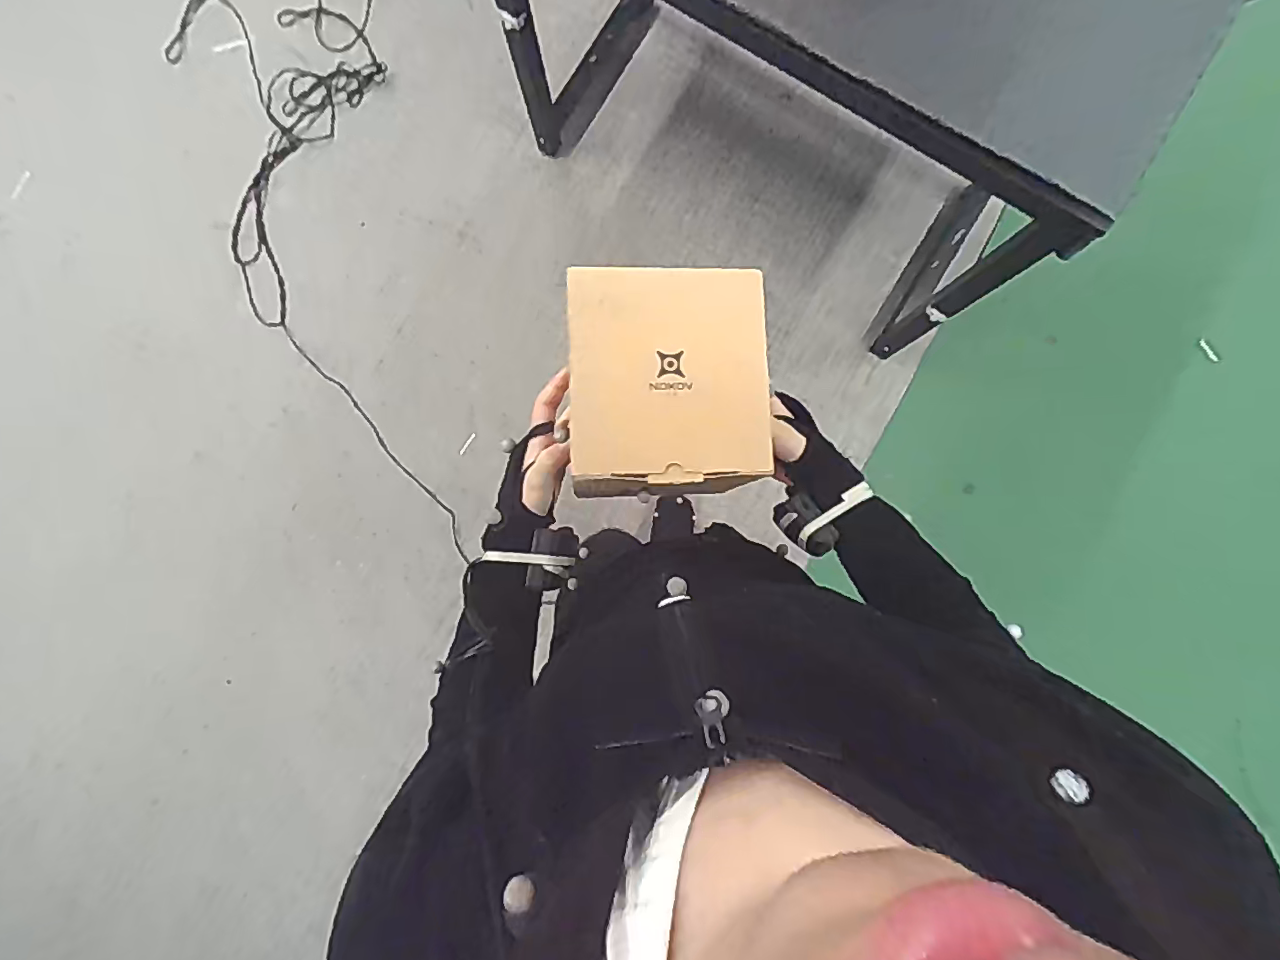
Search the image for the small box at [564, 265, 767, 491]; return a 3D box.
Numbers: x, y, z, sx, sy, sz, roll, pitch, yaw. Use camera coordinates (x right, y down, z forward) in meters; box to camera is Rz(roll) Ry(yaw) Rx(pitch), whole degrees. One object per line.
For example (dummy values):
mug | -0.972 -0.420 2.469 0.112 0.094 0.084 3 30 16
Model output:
small box | 0.011 -0.085 0.522 0.168 0.176 0.179 -3 86 -7
